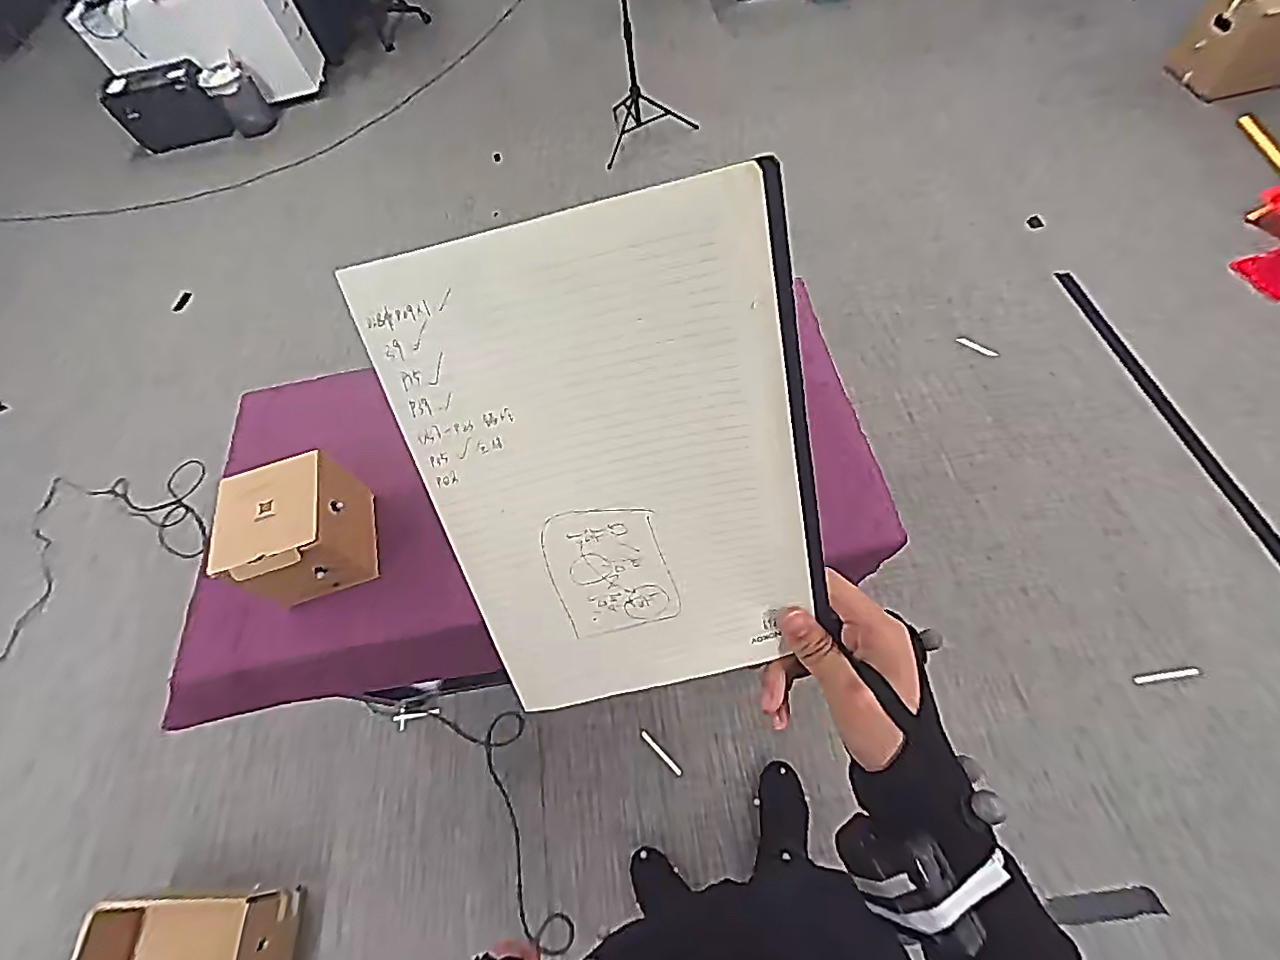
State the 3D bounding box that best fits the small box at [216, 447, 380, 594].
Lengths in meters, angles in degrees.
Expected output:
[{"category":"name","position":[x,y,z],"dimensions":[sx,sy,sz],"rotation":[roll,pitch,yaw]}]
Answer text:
[{"category":"small box","position":[-0.557,0.077,0.904],"dimensions":[0.168,0.176,0.179],"rotation":[-17,61,-2]}]
